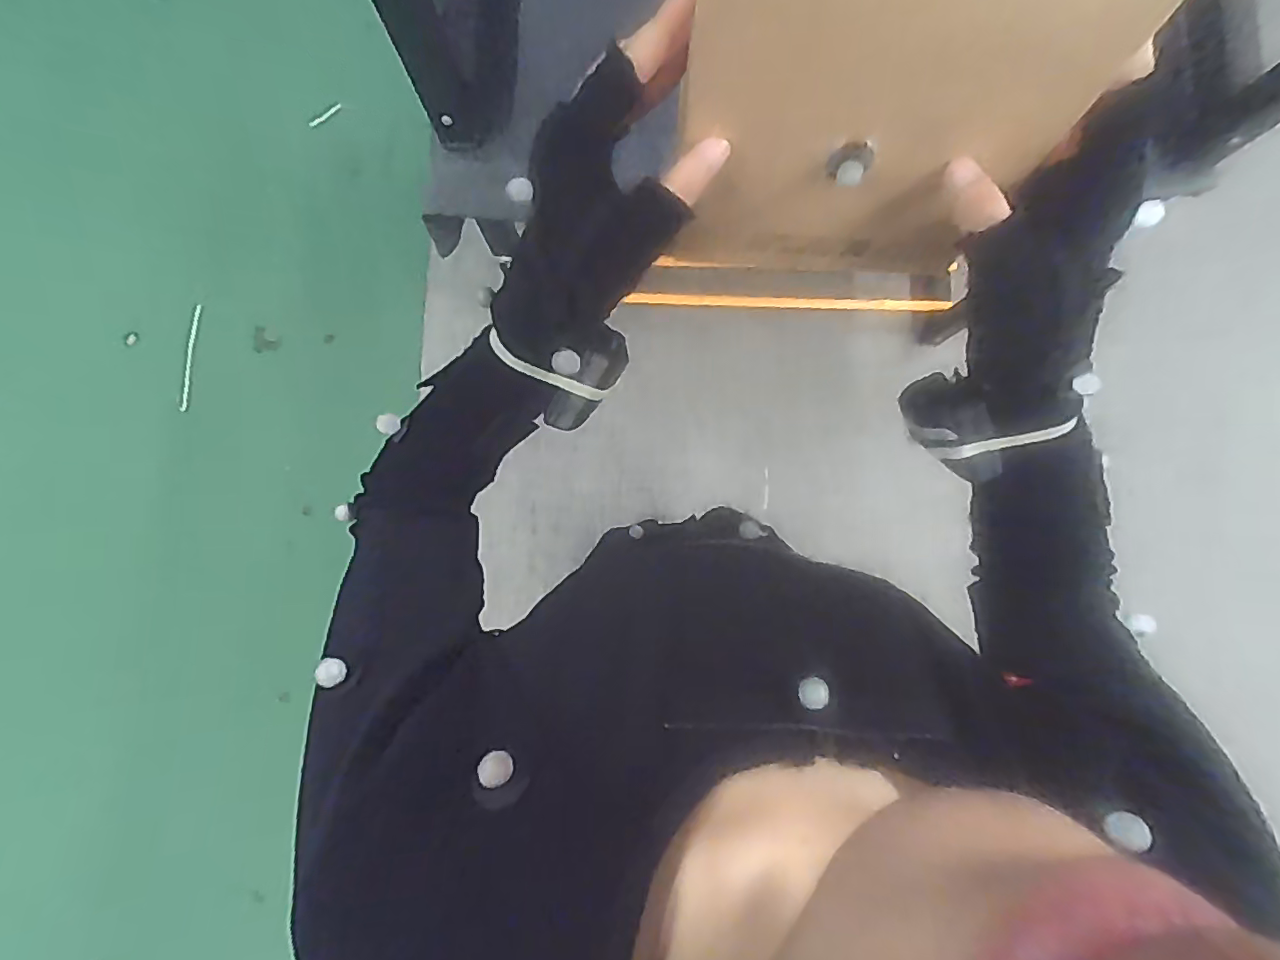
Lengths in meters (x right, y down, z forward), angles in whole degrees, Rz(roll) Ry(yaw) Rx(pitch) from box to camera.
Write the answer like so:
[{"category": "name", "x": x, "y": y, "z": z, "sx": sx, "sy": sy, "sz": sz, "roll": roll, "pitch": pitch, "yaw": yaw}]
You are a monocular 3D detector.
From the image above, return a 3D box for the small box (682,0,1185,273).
[{"category": "small box", "x": 0.112, "y": -0.228, "z": 0.270, "sx": 0.168, "sy": 0.176, "sz": 0.179, "roll": 3, "pitch": 75, "yaw": 0}]
